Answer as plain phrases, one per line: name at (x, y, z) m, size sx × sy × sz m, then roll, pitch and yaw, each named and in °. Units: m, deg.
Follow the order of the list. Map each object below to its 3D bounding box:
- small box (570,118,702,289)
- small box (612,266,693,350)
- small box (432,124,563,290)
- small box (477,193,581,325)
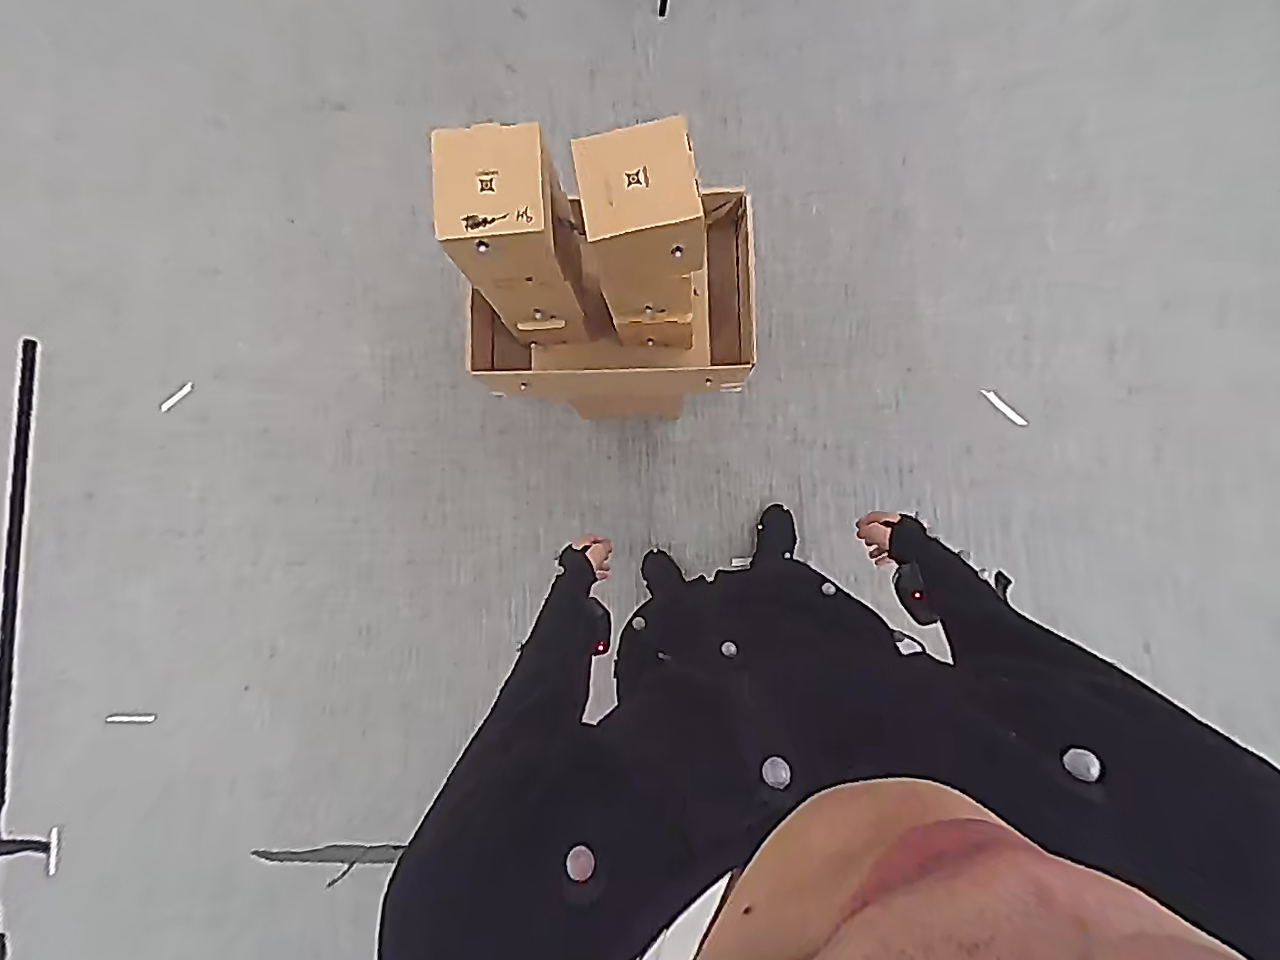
small box at (0.000, -0.433, 0.872) m, size 0.179 × 0.176 × 0.168 m, roll -10°, pitch 84°, yaw 6°
small box at (0.034, -0.399, 1.196) m, size 0.168 × 0.176 × 0.179 m, roll 1°, pitch 86°, yaw 6°
small box at (-0.223, -0.433, 0.880) m, size 0.168 × 0.176 × 0.179 m, roll -4°, pitch 84°, yaw 4°
small box at (-0.209, -0.418, 1.044) m, size 0.168 × 0.176 × 0.179 m, roll -3°, pitch 85°, yaw 3°
